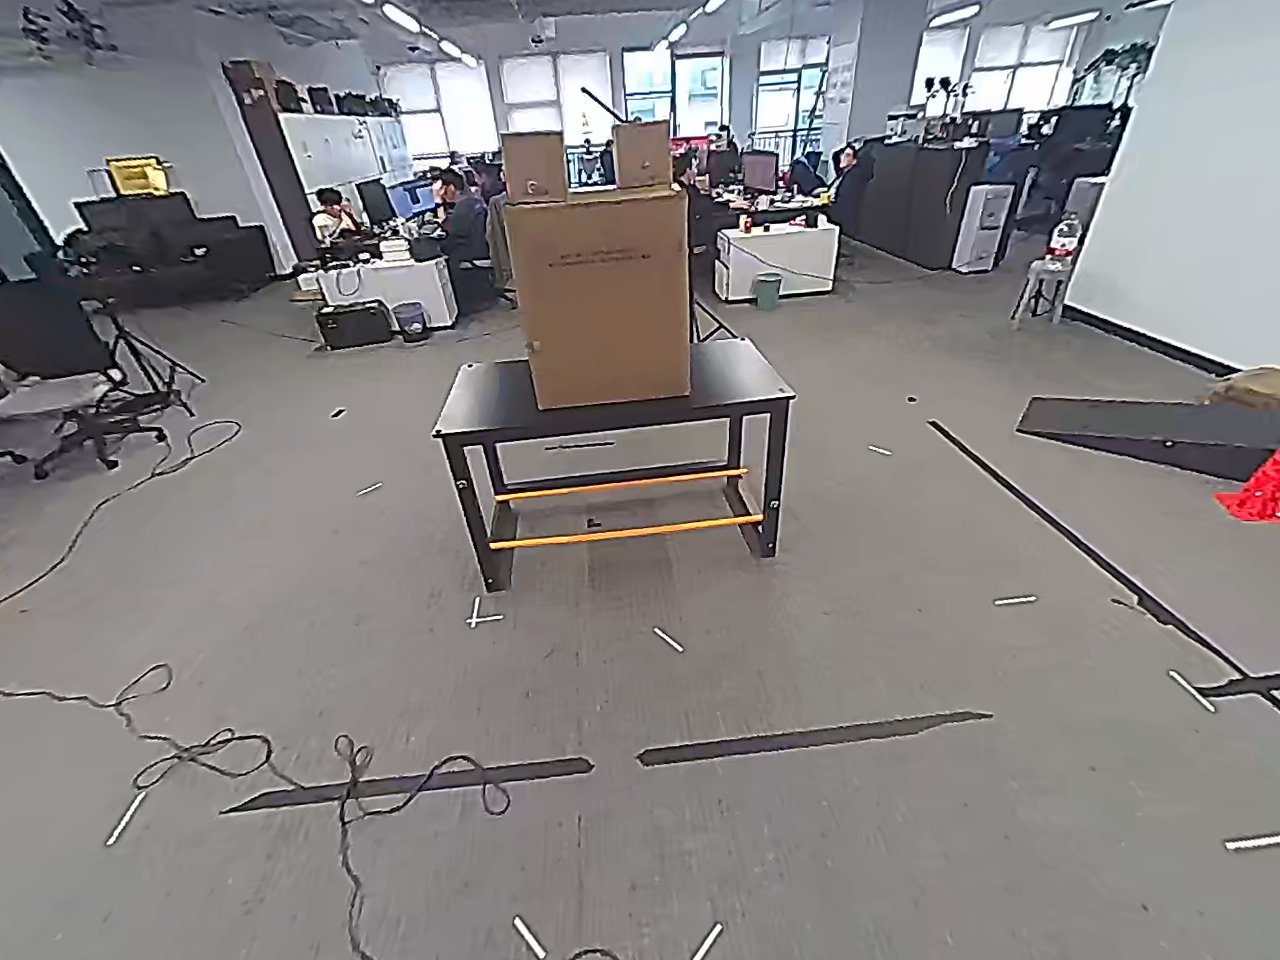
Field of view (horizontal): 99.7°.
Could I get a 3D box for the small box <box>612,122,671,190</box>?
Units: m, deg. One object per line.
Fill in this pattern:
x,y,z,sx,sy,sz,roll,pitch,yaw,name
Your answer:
0.003,-1.021,1.710,0.168,0.176,0.179,-8,32,-3,small box

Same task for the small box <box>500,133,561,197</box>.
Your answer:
-0.346,-0.994,1.709,0.168,0.176,0.179,-8,33,-9,small box
